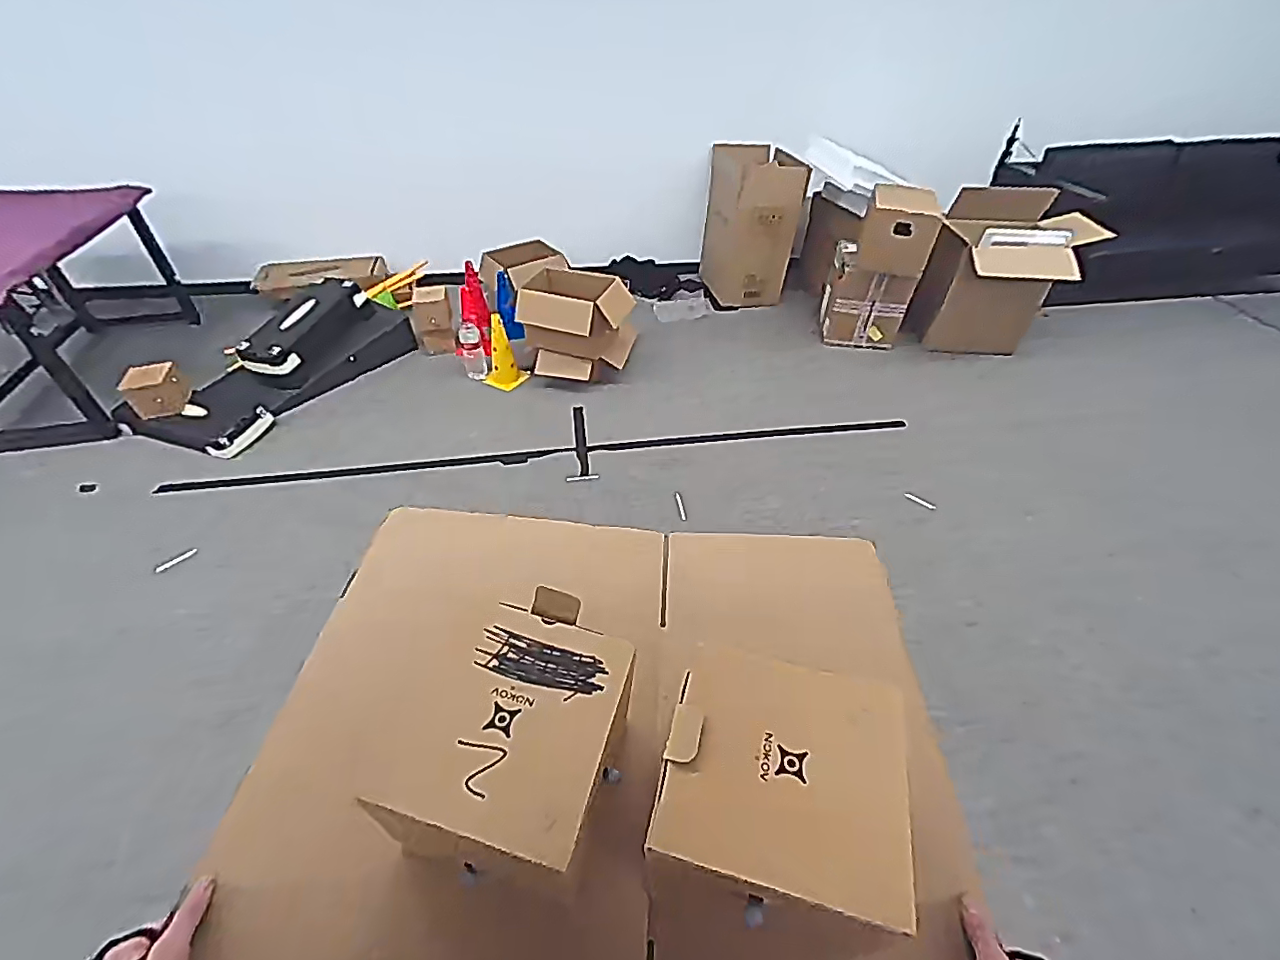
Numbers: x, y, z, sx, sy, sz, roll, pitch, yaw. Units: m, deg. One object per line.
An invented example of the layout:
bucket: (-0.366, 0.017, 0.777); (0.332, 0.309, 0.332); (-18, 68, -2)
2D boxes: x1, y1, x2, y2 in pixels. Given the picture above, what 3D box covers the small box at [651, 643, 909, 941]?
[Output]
small box: (0.116, 0.274, 0.476); (0.179, 0.176, 0.168); (9, 45, 13)
